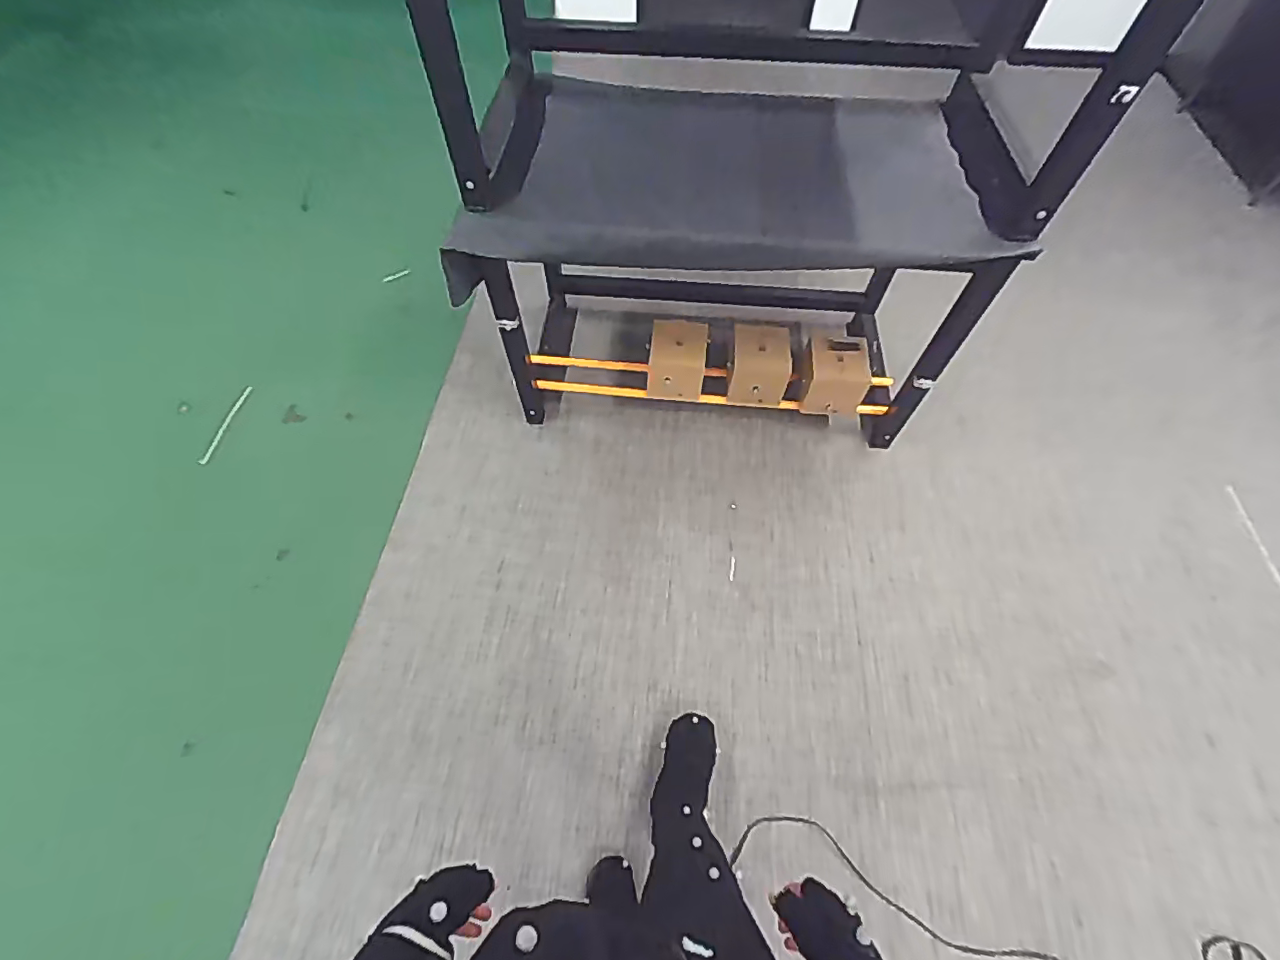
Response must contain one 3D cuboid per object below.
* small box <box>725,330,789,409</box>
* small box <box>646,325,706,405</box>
[{"bbox_3d":[0.355,-0.335,1.661,0.168,0.176,0.179,4,60,2],"label":"small box"},{"bbox_3d":[0.109,-0.350,1.670,0.168,0.176,0.179,6,60,2],"label":"small box"}]
